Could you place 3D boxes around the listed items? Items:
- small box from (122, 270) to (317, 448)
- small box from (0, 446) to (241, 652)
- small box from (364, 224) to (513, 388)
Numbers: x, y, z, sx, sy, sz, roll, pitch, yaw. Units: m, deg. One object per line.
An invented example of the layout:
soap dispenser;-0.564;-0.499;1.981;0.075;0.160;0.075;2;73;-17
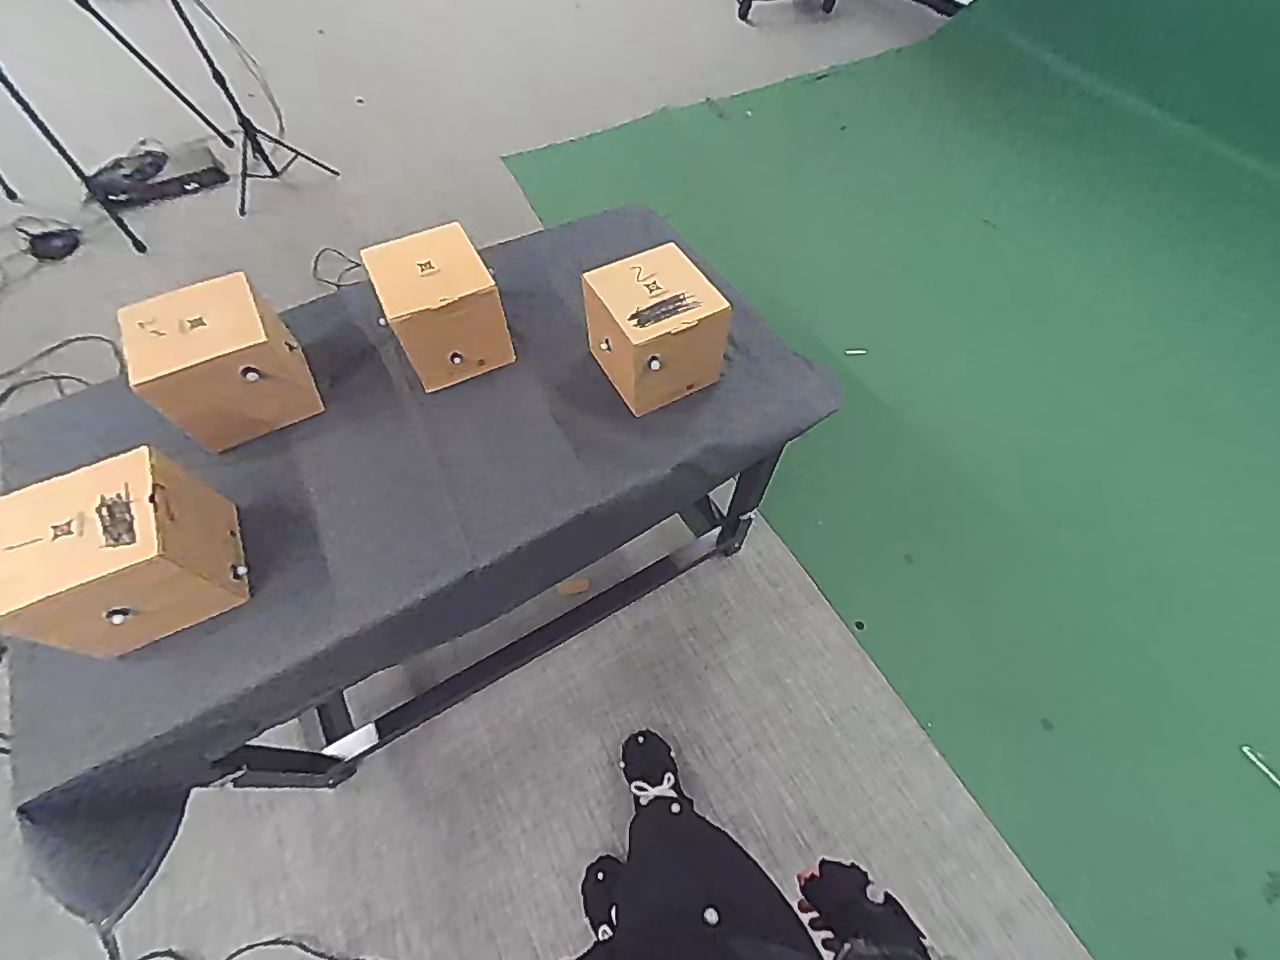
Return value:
small box;-0.631;-0.181;0.834;0.179;0.176;0.168;-26;65;-15
small box;-0.640;0.092;0.680;0.179;0.176;0.168;-24;63;-14
small box;-0.330;-0.287;0.907;0.168;0.176;0.179;-25;65;-15
